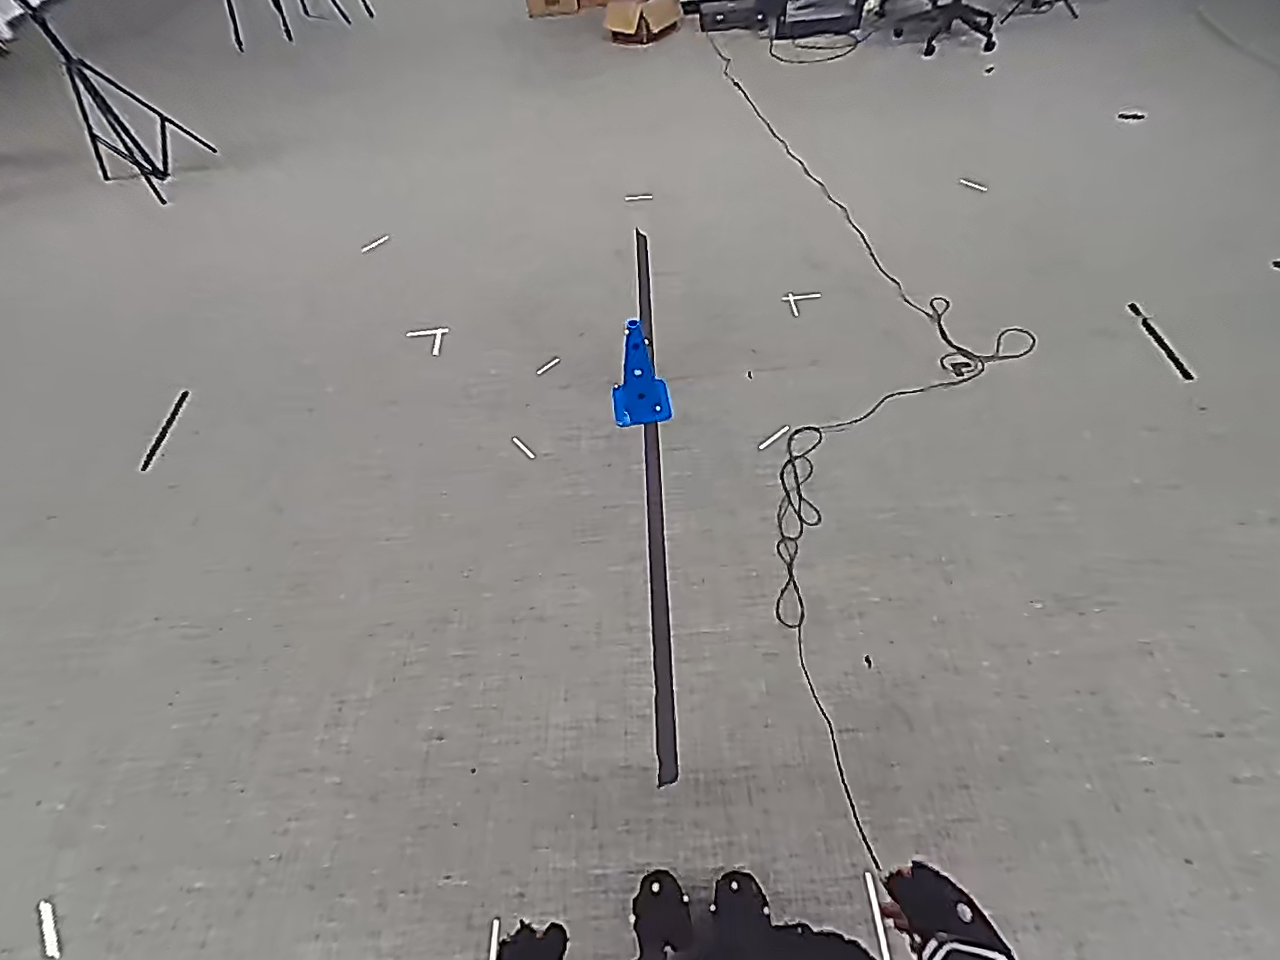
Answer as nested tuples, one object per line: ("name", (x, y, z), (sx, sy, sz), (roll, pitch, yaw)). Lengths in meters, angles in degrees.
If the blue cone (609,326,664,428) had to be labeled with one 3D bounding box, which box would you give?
("blue cone", (-0.027, -0.364, 1.823), (0.192, 0.380, 0.193), (-7, 55, 1))
